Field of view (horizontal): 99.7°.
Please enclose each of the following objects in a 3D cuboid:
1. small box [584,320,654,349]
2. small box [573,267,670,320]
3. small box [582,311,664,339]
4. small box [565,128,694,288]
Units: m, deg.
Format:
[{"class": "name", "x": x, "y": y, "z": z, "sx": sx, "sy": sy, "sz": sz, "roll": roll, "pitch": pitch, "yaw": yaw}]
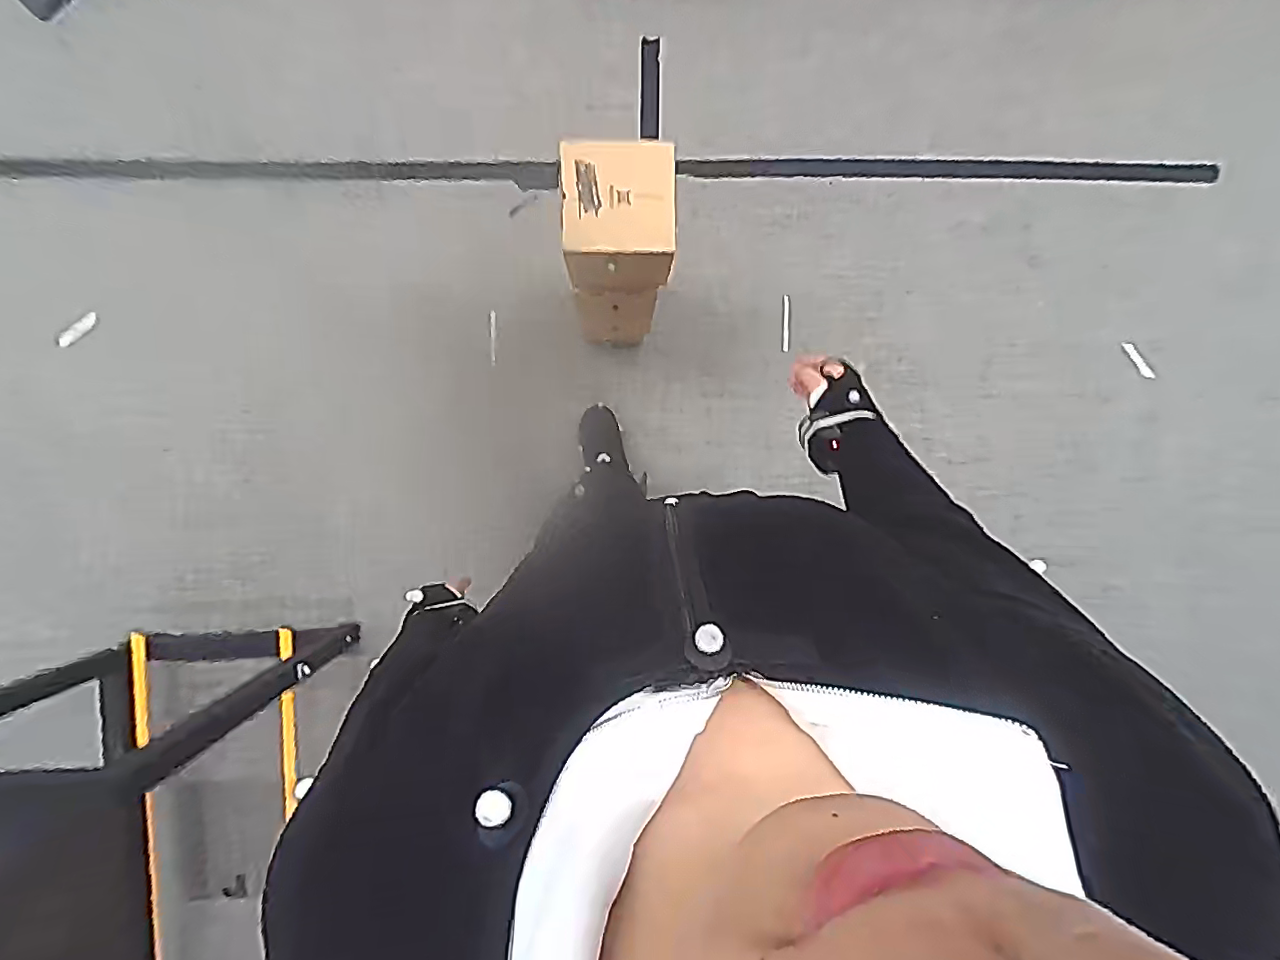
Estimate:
[{"class": "small box", "x": -0.050, "y": -0.422, "z": 1.307, "sx": 0.168, "sy": 0.176, "sz": 0.179, "roll": -1, "pitch": 94, "yaw": -1}, {"class": "small box", "x": -0.030, "y": -0.395, "z": 0.980, "sx": 0.168, "sy": 0.176, "sz": 0.179, "roll": 0, "pitch": 93, "yaw": -2}, {"class": "small box", "x": -0.036, "y": -0.405, "z": 1.143, "sx": 0.168, "sy": 0.176, "sz": 0.179, "roll": 0, "pitch": 93, "yaw": -1}, {"class": "small box", "x": -0.016, "y": -0.397, "z": 0.814, "sx": 0.179, "sy": 0.176, "sz": 0.168, "roll": -1, "pitch": 93, "yaw": -3}]
